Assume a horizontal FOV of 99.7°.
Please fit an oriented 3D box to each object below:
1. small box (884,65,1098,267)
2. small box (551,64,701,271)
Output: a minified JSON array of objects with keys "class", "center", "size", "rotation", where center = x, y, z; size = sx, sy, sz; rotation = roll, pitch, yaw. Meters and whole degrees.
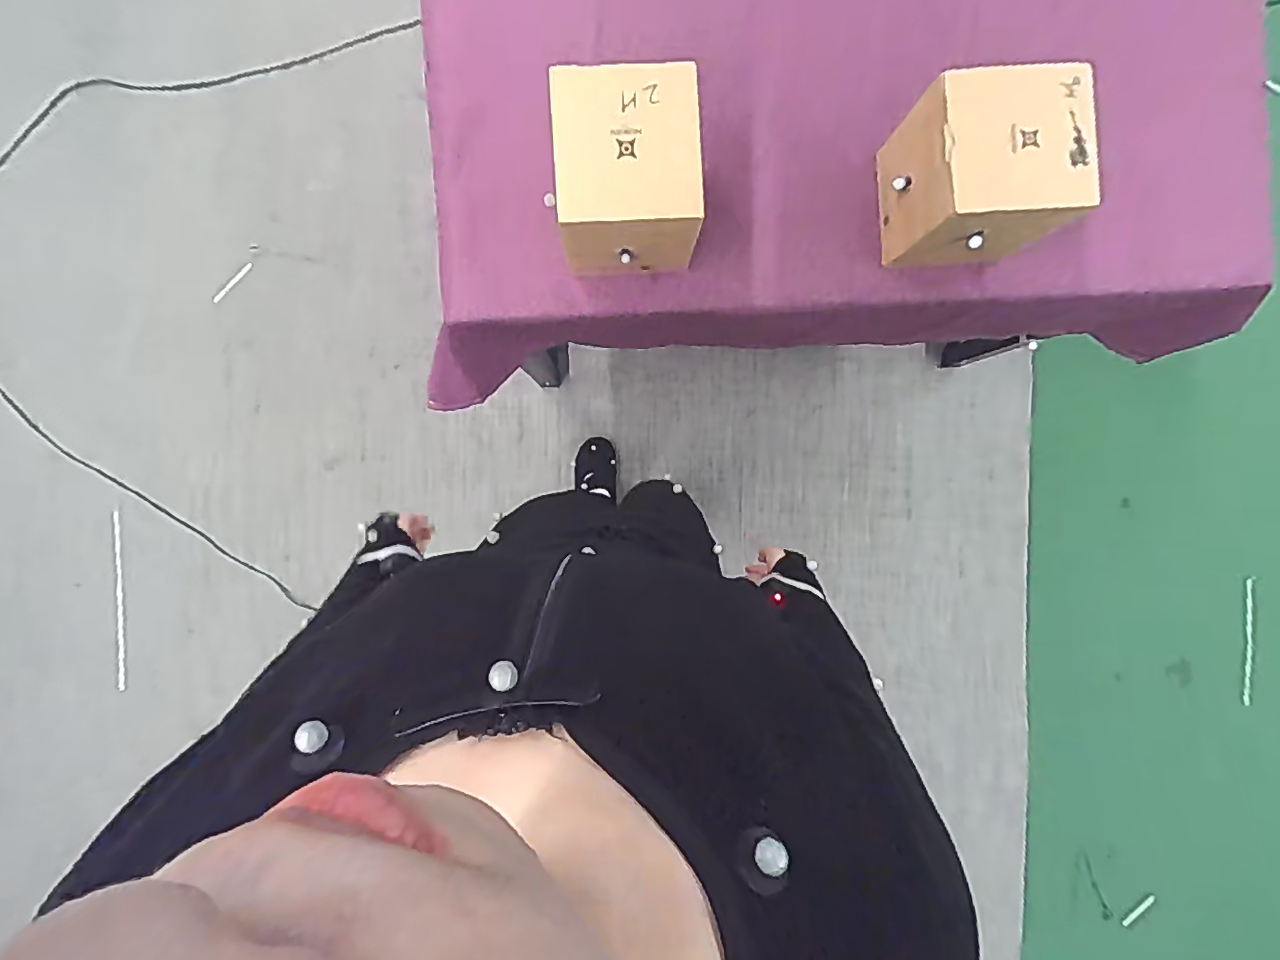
[{"class":"small box","center":[0.430,-0.386,0.694],"size":[0.179,0.176,0.168],"rotation":[-4,91,-1]},{"class":"small box","center":[-0.017,-0.375,0.681],"size":[0.168,0.176,0.179],"rotation":[-2,91,-2]}]
